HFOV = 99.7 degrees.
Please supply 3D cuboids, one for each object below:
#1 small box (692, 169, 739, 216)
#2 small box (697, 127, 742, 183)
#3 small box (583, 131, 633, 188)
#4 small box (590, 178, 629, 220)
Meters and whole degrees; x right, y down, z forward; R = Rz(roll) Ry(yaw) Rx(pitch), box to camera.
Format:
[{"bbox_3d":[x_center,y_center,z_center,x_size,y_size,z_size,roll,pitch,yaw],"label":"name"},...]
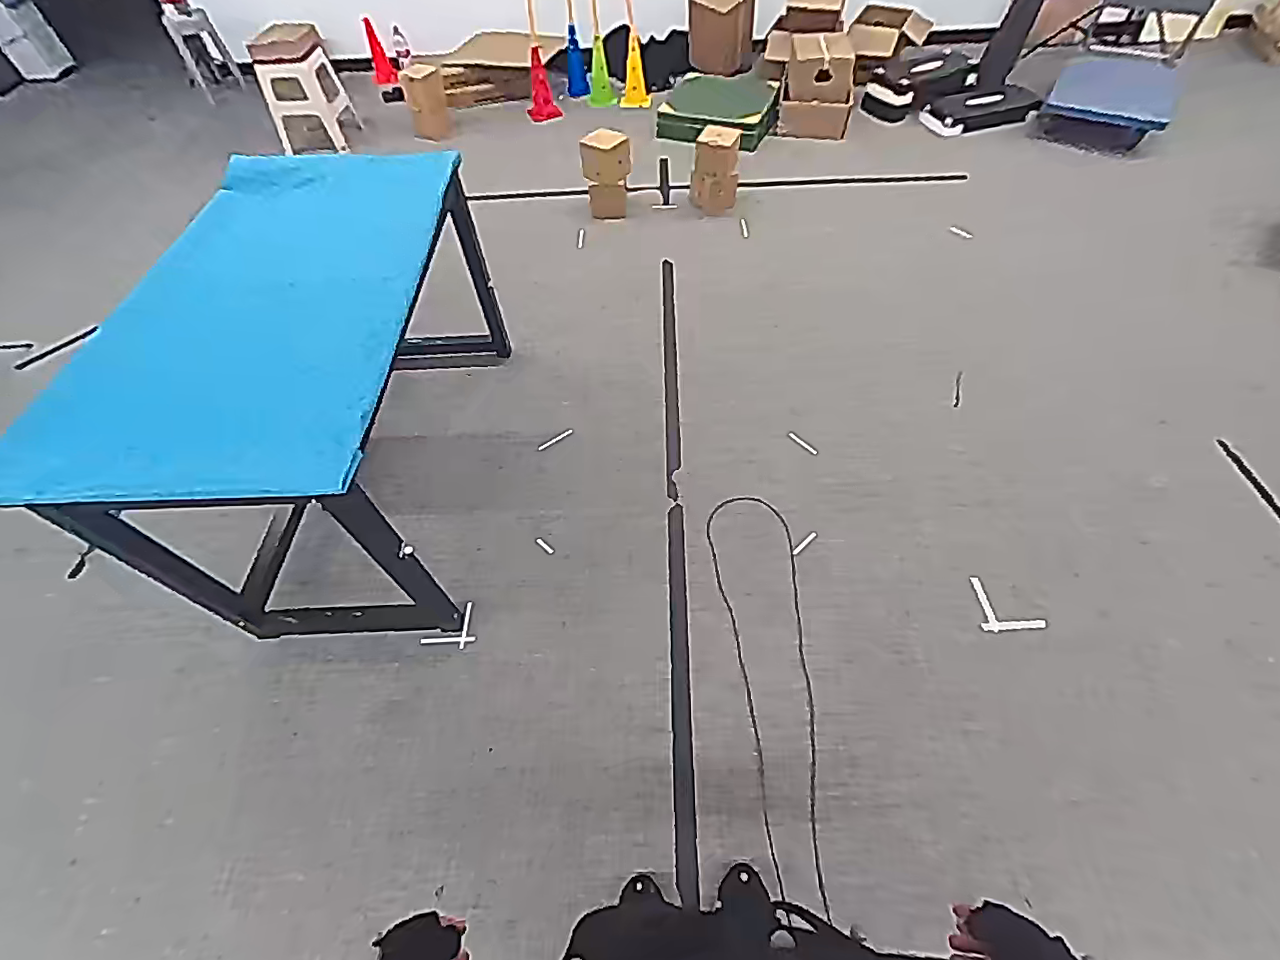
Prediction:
[{"bbox_3d":[0.376,-1.466,2.726,0.179,0.176,0.168,-27,60,-15],"label":"small box"},{"bbox_3d":[0.376,-1.551,2.586,0.168,0.176,0.179,19,57,13],"label":"small box"},{"bbox_3d":[-0.155,-1.542,2.597,0.179,0.176,0.168,30,61,22],"label":"small box"},{"bbox_3d":[-0.149,-1.435,2.726,0.179,0.176,0.168,0,54,4],"label":"small box"}]
